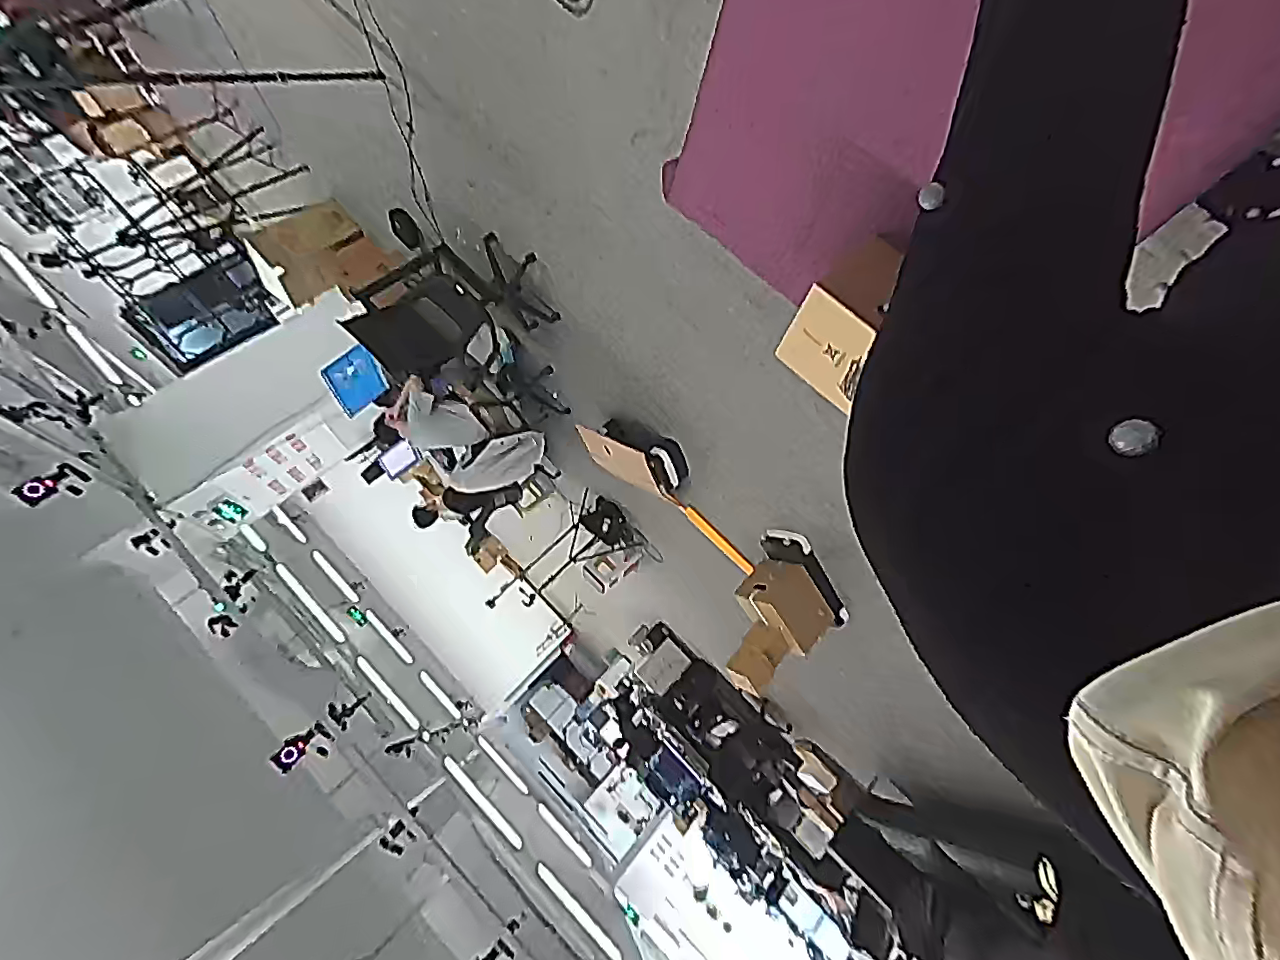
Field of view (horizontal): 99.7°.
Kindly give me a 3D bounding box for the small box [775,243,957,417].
[{"bbox_3d":[0.358,-0.242,0.866,0.179,0.176,0.168,45,158,12],"label":"small box"}]
